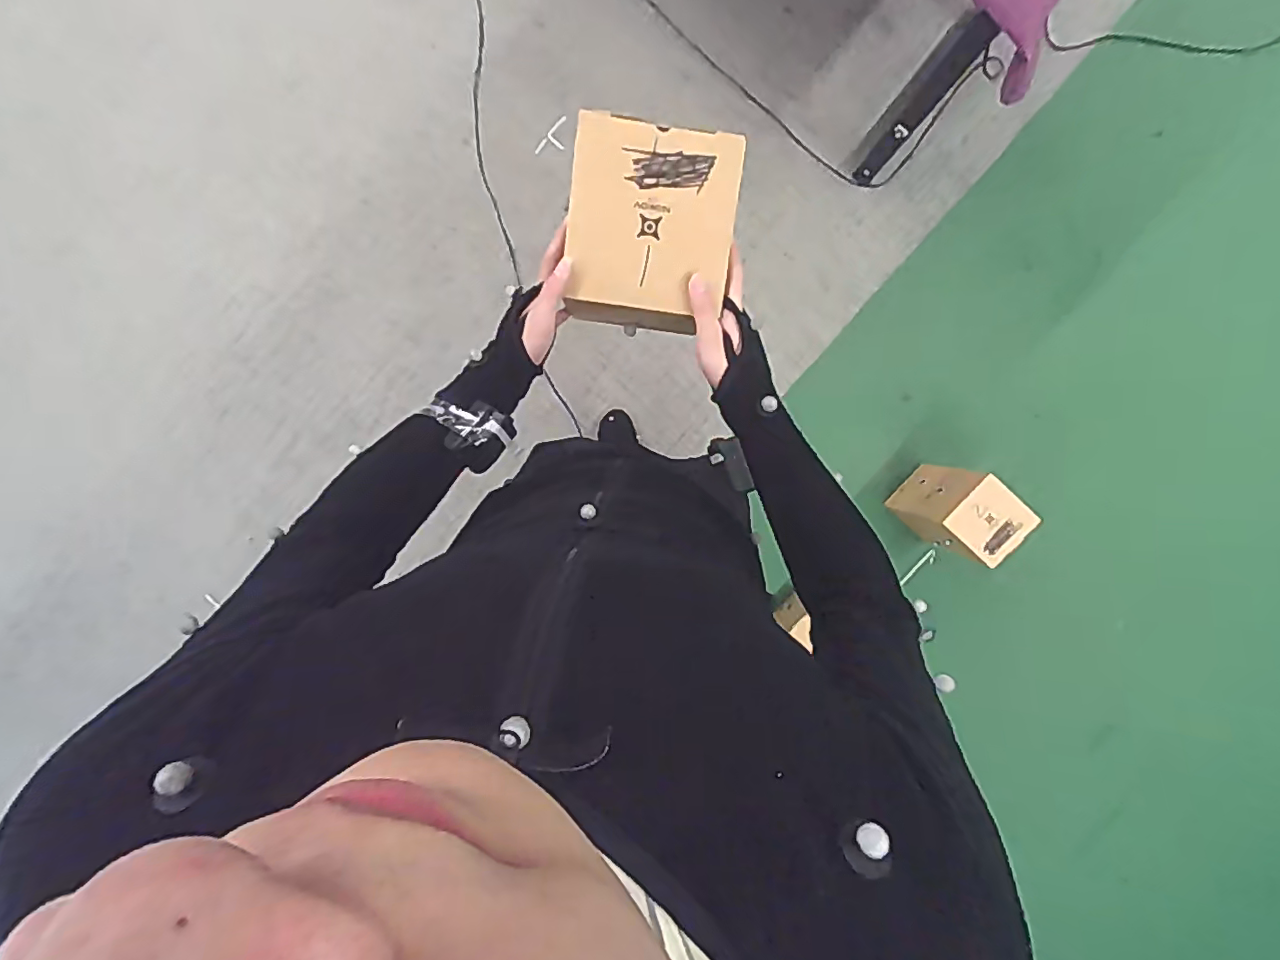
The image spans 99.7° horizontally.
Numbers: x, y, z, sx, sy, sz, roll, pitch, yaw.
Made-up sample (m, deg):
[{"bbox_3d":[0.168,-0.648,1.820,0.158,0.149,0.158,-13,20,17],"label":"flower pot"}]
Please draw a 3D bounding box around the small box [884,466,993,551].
[{"bbox_3d":[0.839,0.073,1.541,0.179,0.176,0.168,41,94,-4],"label":"small box"}]
